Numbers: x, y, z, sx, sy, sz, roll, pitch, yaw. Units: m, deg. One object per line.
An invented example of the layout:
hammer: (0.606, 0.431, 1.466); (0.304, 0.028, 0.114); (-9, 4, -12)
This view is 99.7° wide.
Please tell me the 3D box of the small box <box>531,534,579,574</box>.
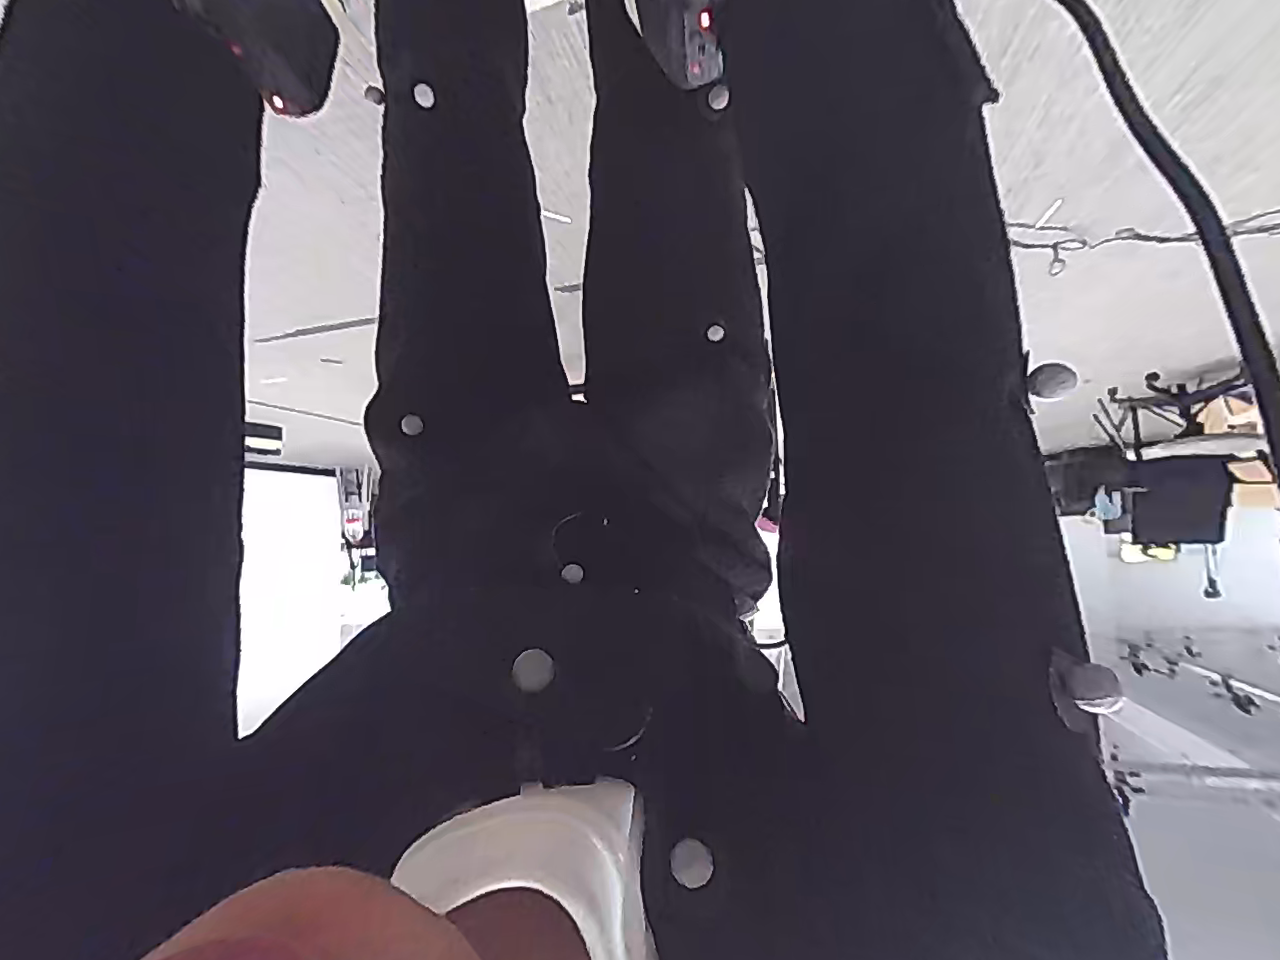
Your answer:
small box: (-0.394, 0.340, 2.508); (0.179, 0.176, 0.168); (-4, 176, 12)
